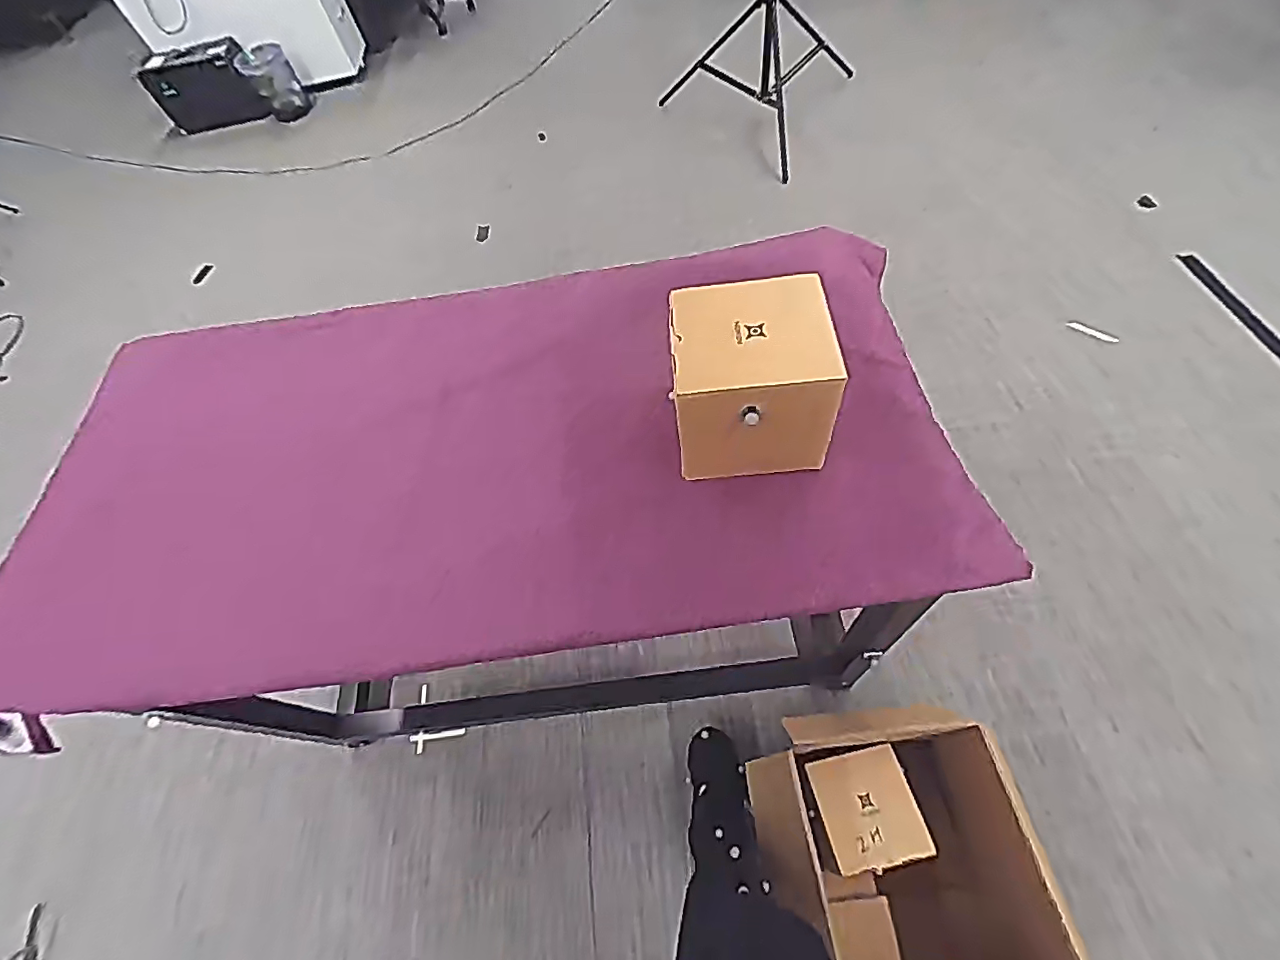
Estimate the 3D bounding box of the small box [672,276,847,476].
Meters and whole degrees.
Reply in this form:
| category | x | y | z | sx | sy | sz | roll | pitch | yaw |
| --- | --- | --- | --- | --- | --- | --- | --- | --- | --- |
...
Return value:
| category | x | y | z | sx | sy | sz | roll | pitch | yaw |
| --- | --- | --- | --- | --- | --- | --- | --- | --- | --- |
| small box | 0.134 | -0.120 | 0.663 | 0.179 | 0.176 | 0.168 | -5 | 57 | 7 |
